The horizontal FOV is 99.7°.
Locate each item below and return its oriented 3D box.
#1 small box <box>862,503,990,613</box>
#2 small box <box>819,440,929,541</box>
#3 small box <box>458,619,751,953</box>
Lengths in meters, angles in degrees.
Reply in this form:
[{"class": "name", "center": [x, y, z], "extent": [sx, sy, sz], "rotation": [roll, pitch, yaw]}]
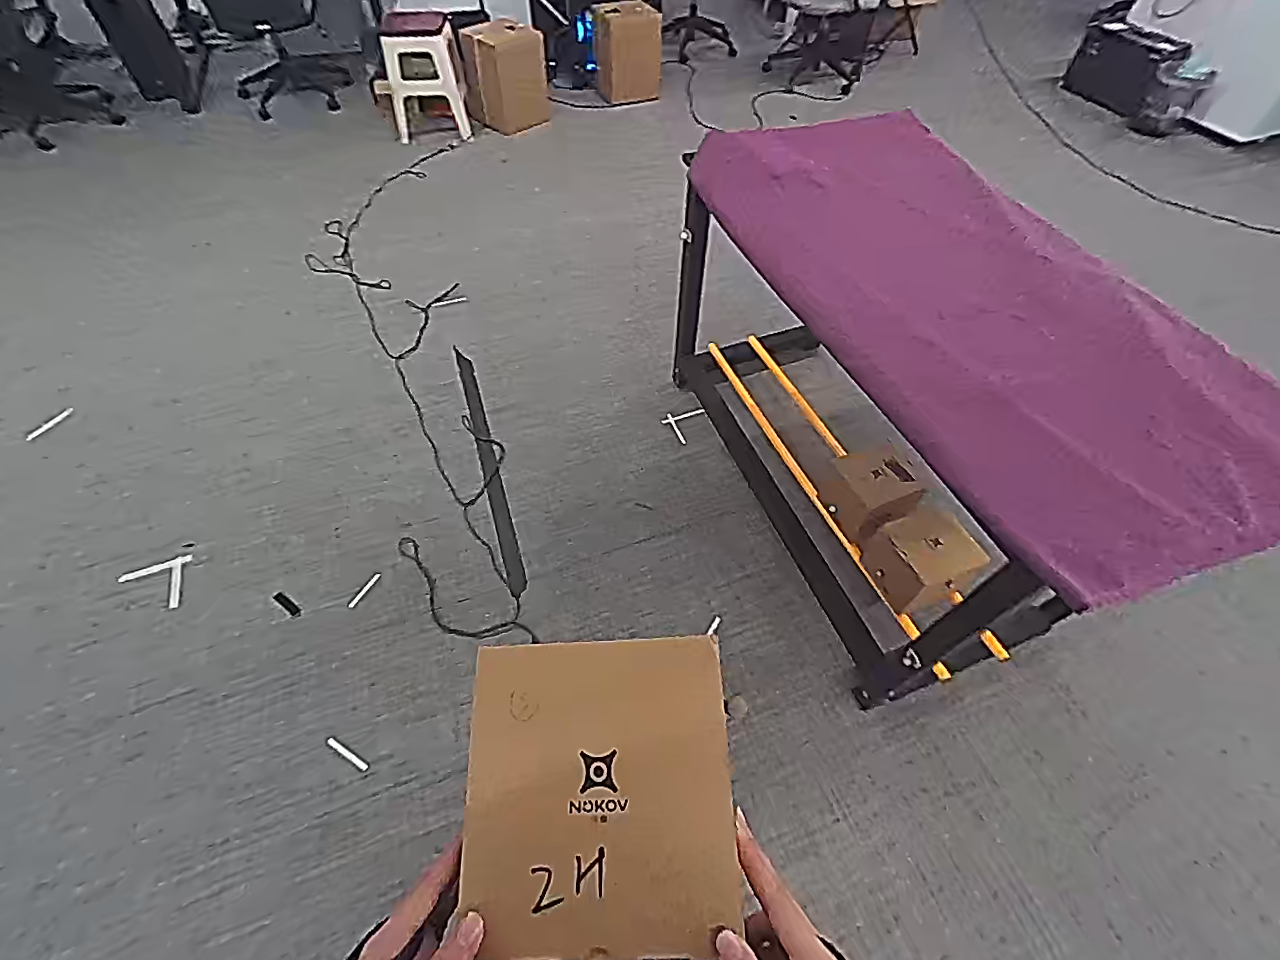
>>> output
[{"class": "small box", "center": [0.662, 0.187, 1.276], "extent": [0.179, 0.176, 0.168], "rotation": [-18, 55, -11]}, {"class": "small box", "center": [0.590, 0.031, 1.391], "extent": [0.179, 0.176, 0.168], "rotation": [-19, 56, -11]}, {"class": "small box", "center": [-0.018, 0.208, 0.402], "extent": [0.168, 0.176, 0.179], "rotation": [-4, 67, 3]}]
